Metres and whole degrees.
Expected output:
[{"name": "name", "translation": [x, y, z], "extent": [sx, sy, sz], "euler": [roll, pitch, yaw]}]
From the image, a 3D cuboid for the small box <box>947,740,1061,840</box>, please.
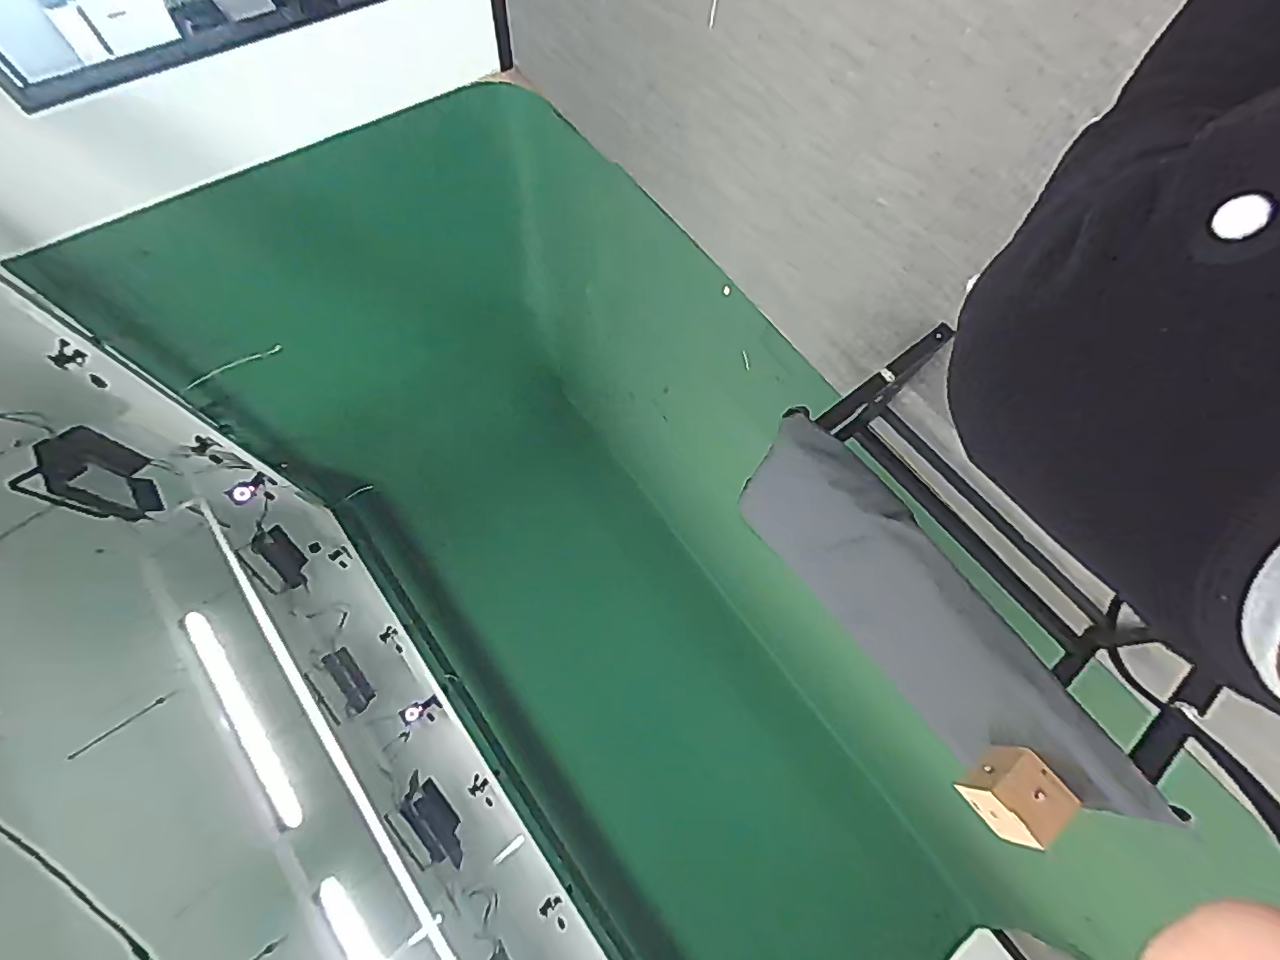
[{"name": "small box", "translation": [1.000, 0.838, 1.482], "extent": [0.168, 0.176, 0.179], "euler": [50, 161, 17]}]
